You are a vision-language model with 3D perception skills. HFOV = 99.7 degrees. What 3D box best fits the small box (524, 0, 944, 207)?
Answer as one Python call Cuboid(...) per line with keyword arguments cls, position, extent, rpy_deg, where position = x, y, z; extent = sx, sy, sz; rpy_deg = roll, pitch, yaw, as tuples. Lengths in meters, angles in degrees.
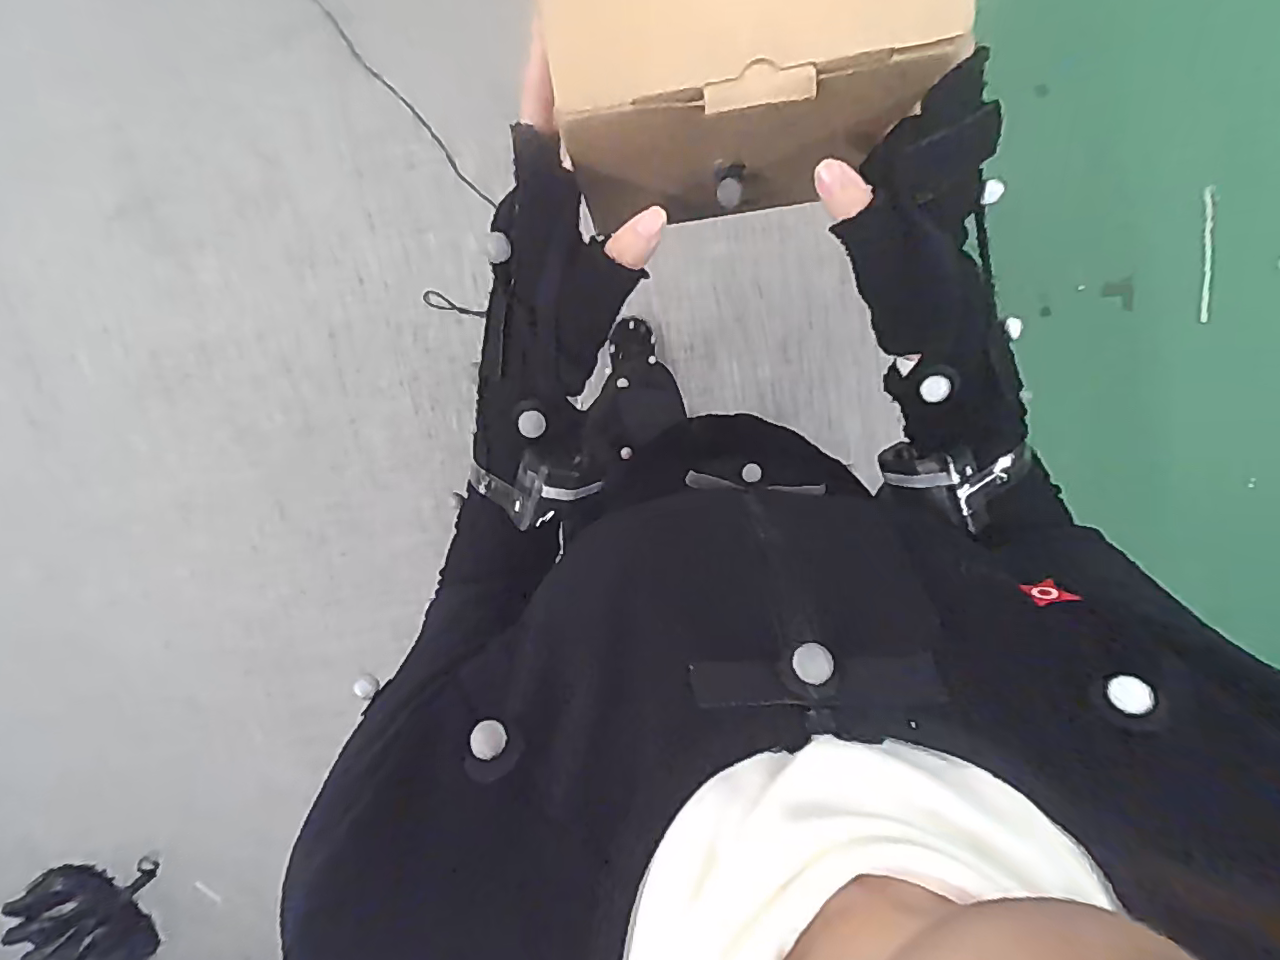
Cuboid(cls="small box", position=(0.032, -0.259, 0.280), extent=(0.168, 0.176, 0.179), rpy_deg=(-7, 100, 3))
